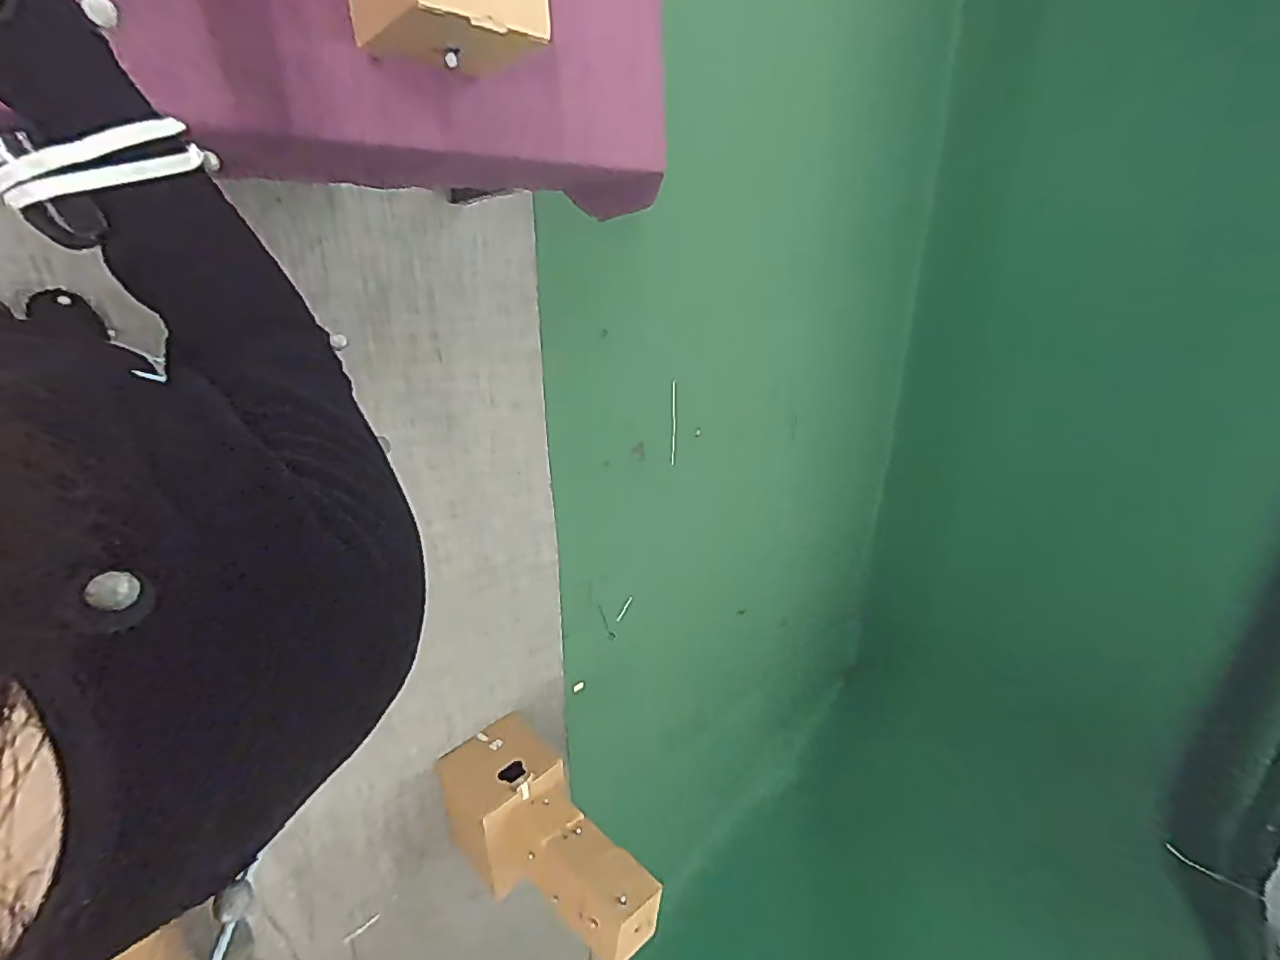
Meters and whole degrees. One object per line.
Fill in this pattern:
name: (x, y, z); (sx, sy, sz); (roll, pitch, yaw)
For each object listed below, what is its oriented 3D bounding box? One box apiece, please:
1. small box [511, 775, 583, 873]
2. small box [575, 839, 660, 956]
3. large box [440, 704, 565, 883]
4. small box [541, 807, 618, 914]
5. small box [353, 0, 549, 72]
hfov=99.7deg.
small box: (-0.312, 1.131, 1.791); (0.168, 0.176, 0.179); (-8, 110, -46)
small box: (-0.070, 1.214, 1.588); (0.179, 0.176, 0.168); (-2, 106, -47)
large box: (-0.487, 1.119, 1.966); (0.320, 0.320, 0.408); (-21, 120, -40)
small box: (-0.193, 1.179, 1.691); (0.168, 0.176, 0.179); (-3, 106, -47)
small box: (-0.223, -0.598, 0.616); (0.168, 0.176, 0.179); (-21, 120, -40)
